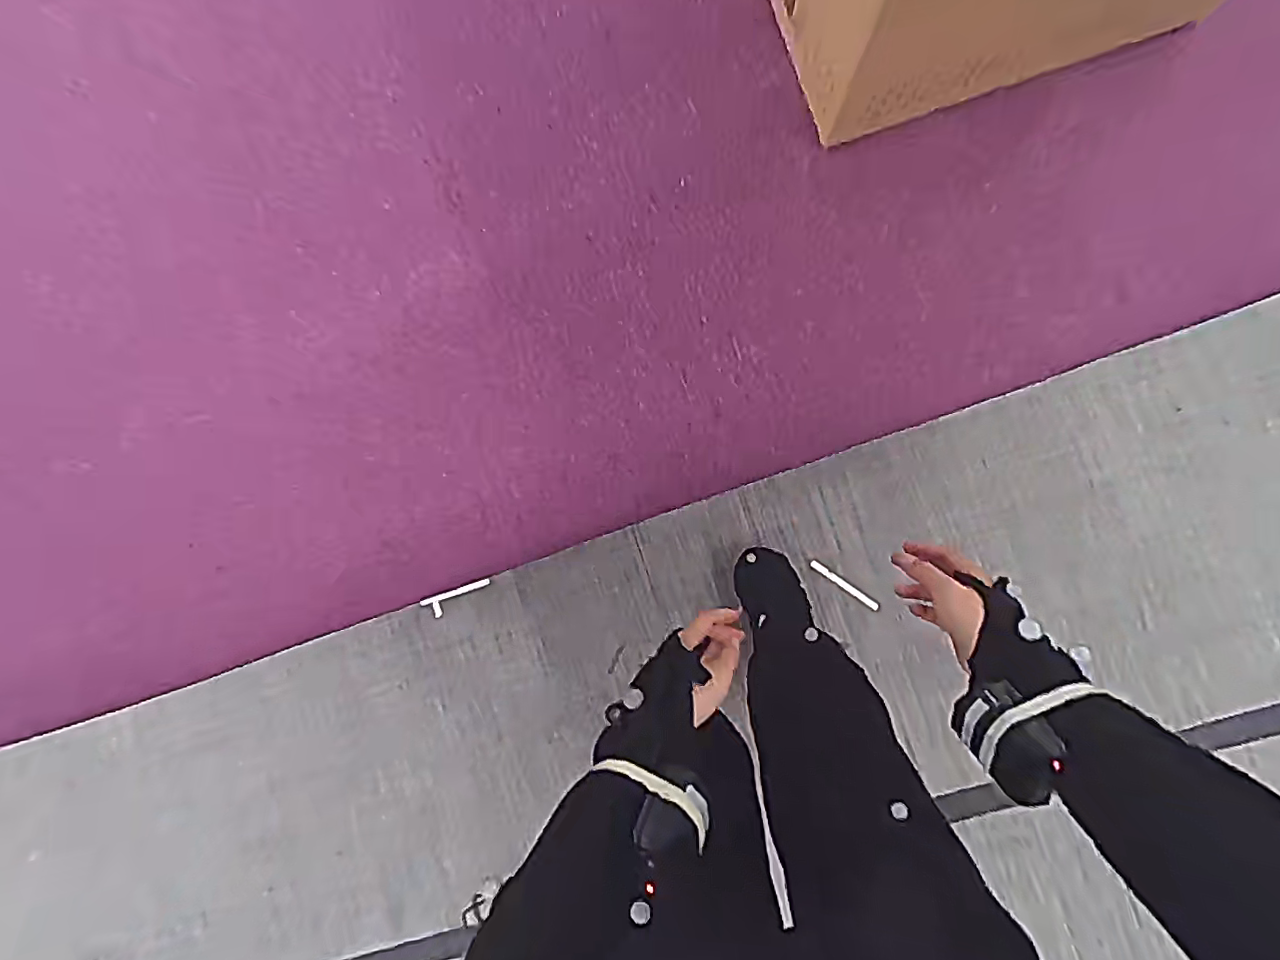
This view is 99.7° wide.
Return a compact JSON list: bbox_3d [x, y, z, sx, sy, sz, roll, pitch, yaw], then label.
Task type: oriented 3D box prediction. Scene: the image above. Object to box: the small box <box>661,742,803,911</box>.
[{"bbox_3d":[0.134,0.532,0.848,0.179,0.176,0.168,-10,78,-1],"label":"small box"}]
